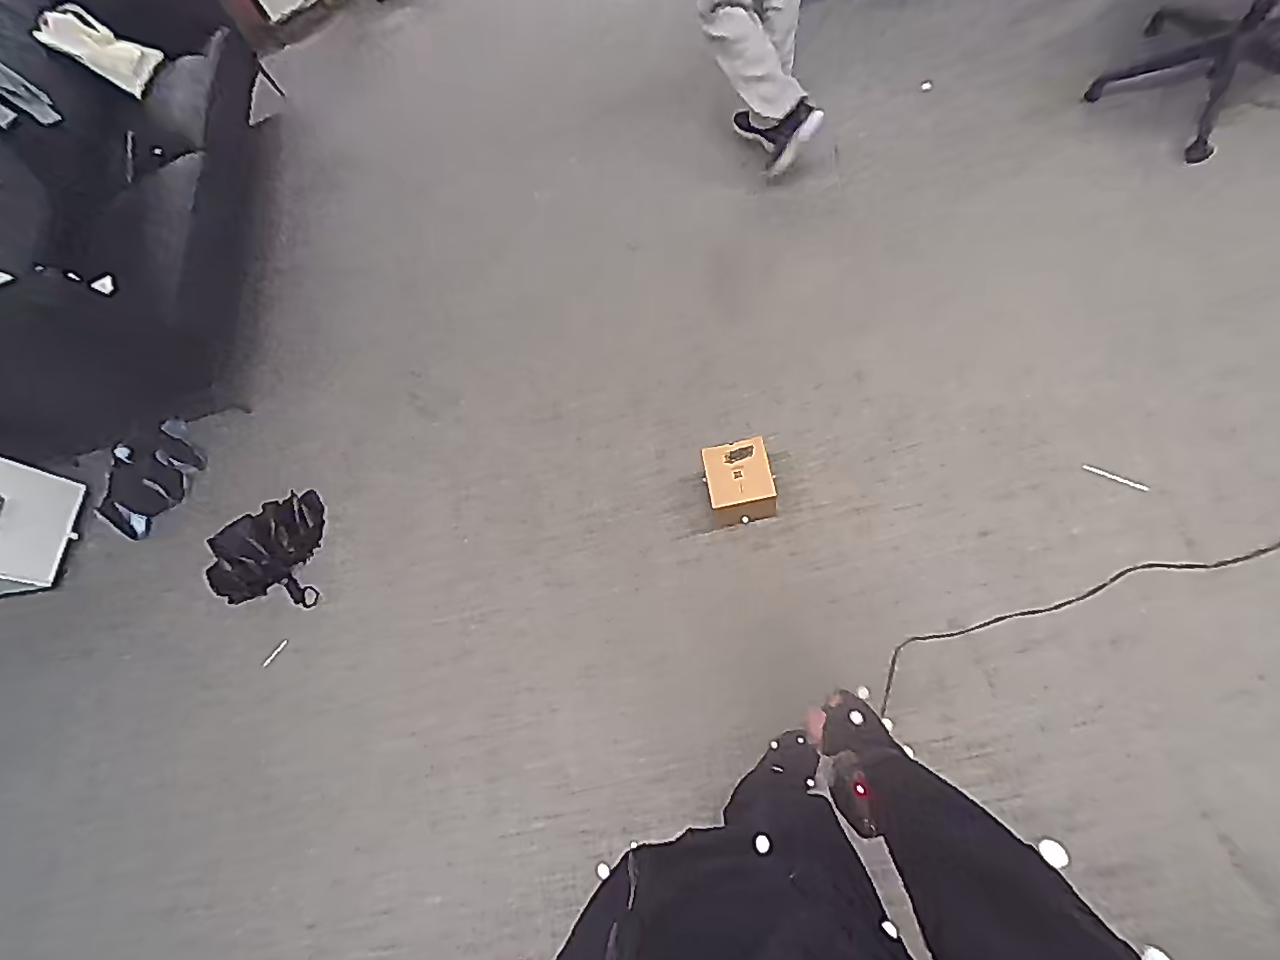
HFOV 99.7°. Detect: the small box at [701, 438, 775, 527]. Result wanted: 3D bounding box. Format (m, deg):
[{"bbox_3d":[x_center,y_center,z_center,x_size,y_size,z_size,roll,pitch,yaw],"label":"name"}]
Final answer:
[{"bbox_3d":[0.271,0.012,1.485,0.168,0.176,0.179,-13,67,10],"label":"small box"}]
